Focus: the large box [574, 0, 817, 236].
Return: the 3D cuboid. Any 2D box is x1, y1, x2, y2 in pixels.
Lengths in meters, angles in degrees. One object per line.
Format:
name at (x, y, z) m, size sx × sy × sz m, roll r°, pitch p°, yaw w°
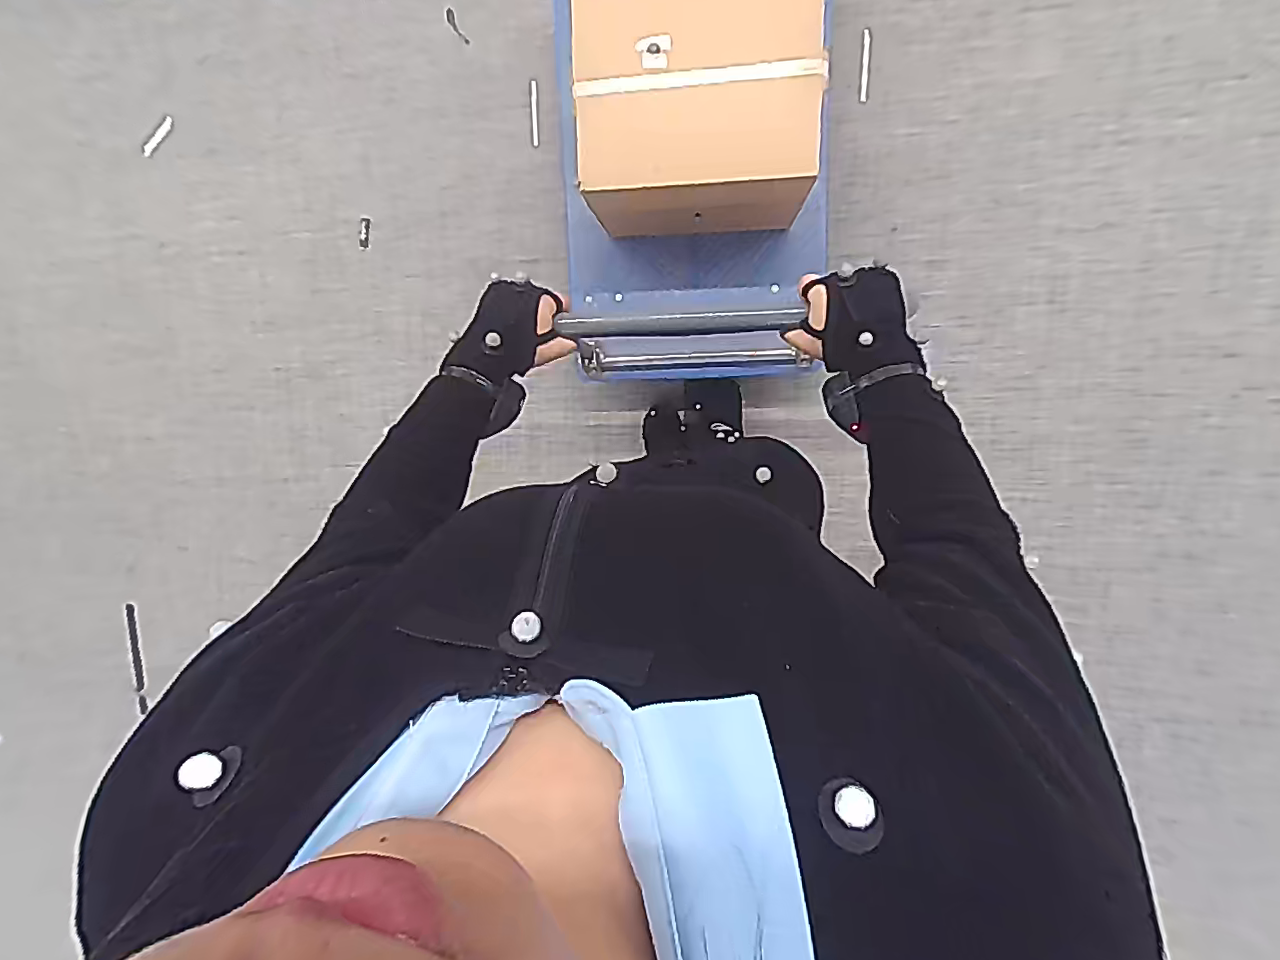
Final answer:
large box at (0.111, -0.685, 1.050) m, size 0.408 × 0.320 × 0.320 m, roll 0°, pitch 99°, yaw 8°
